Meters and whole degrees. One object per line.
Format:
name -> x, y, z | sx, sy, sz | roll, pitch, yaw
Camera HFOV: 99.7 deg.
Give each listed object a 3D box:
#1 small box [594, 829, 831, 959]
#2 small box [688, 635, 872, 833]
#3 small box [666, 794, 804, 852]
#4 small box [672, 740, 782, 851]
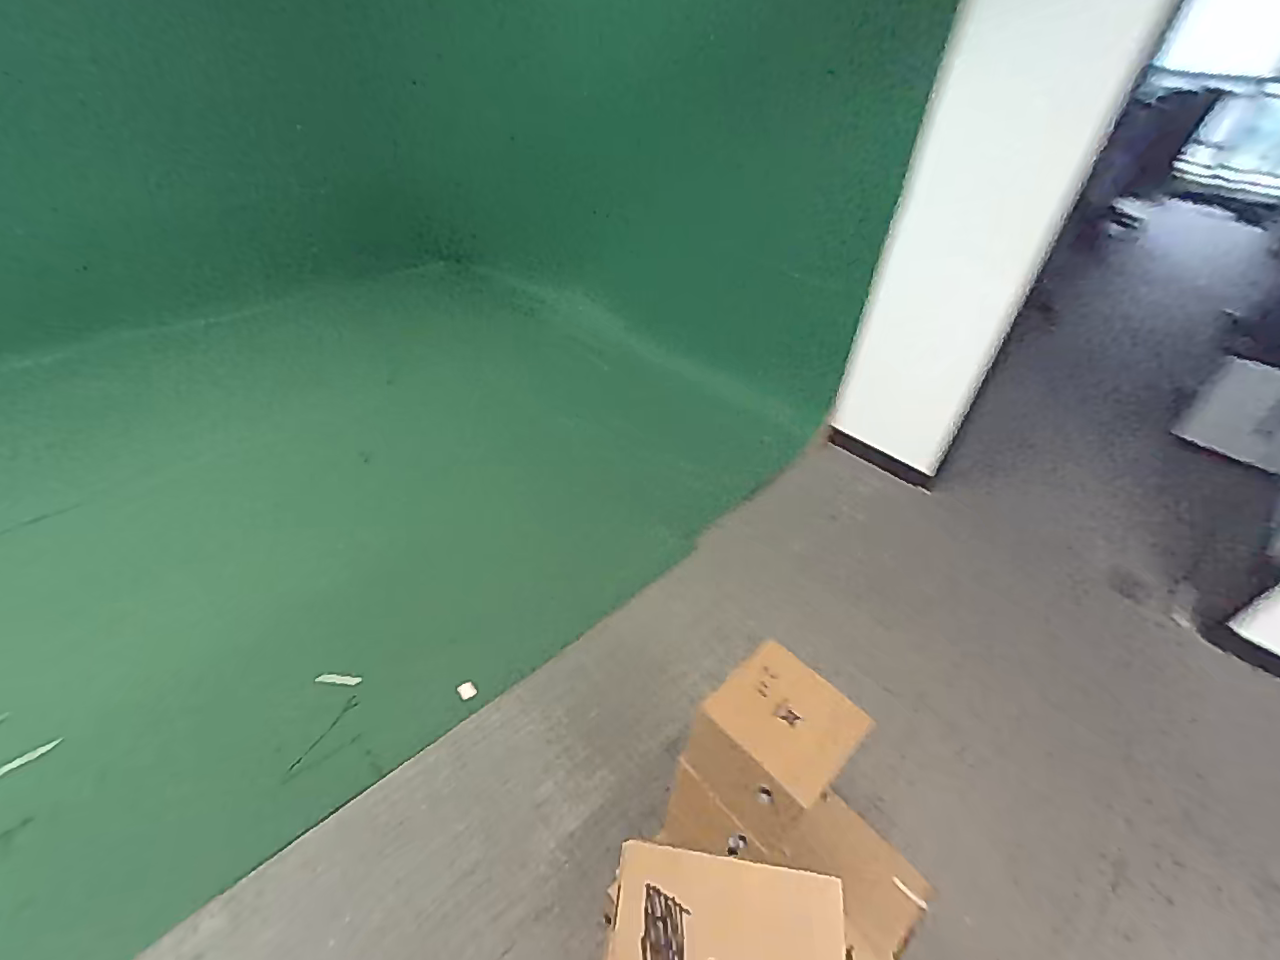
small box -> 0.055, 0.407, 0.459 | 0.179, 0.176, 0.168 | 5, 58, 5
small box -> 0.191, 0.369, 0.780 | 0.168, 0.176, 0.179 | -28, 50, -33
small box -> 0.166, 0.619, 0.989 | 0.168, 0.176, 0.179 | -30, 50, -34
small box -> 0.171, 0.492, 0.889 | 0.168, 0.176, 0.179 | -29, 52, -34
